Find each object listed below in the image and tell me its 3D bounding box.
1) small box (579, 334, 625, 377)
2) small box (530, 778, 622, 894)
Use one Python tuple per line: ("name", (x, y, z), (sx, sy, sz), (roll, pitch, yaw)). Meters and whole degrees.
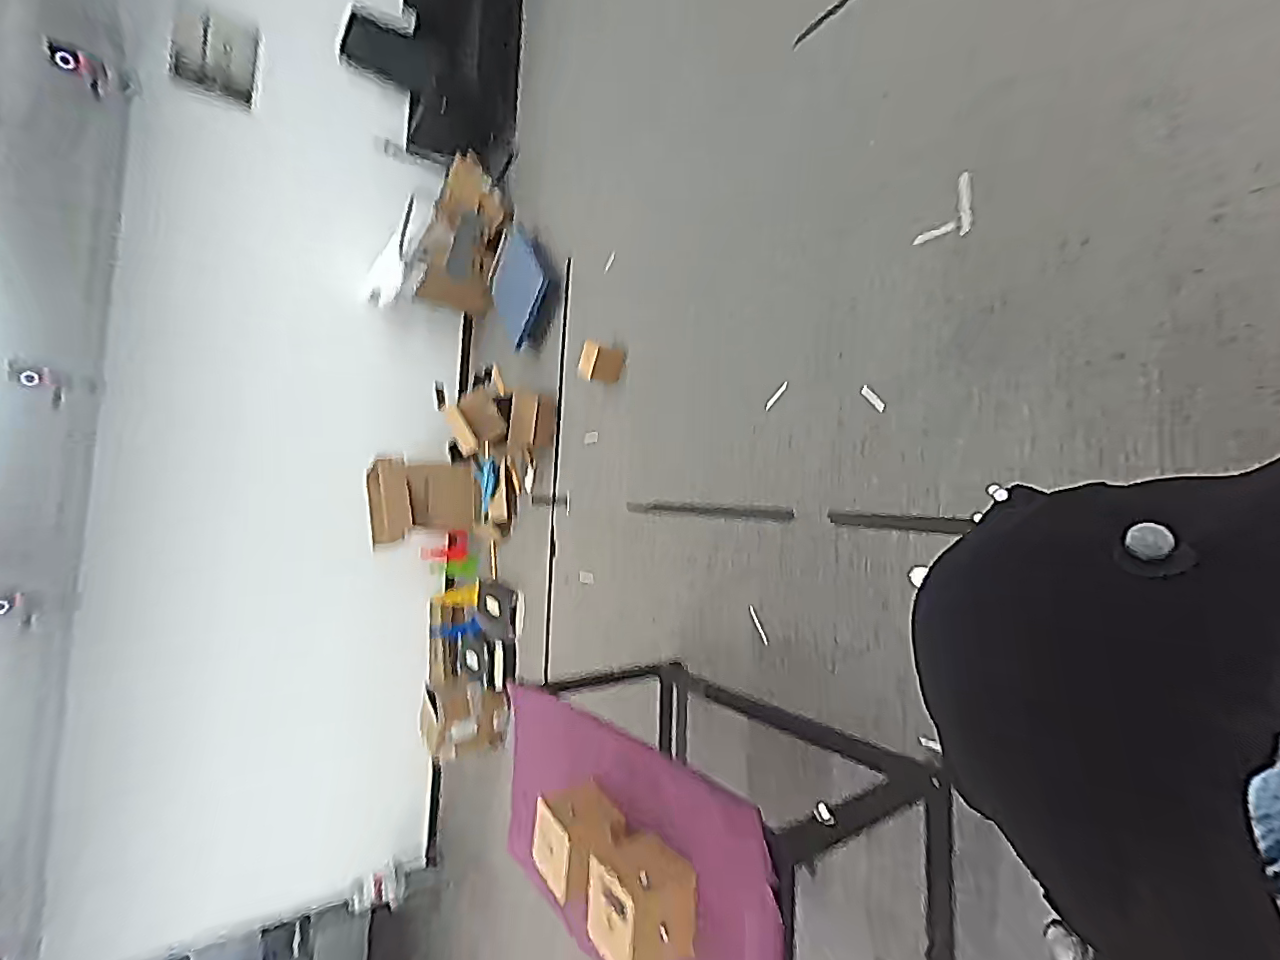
("small box", (-0.204, -0.670, 2.926), (0.168, 0.176, 0.179), (40, 117, 50))
("small box", (-0.164, 0.904, 1.398), (0.179, 0.176, 0.168), (11, 95, 55))
